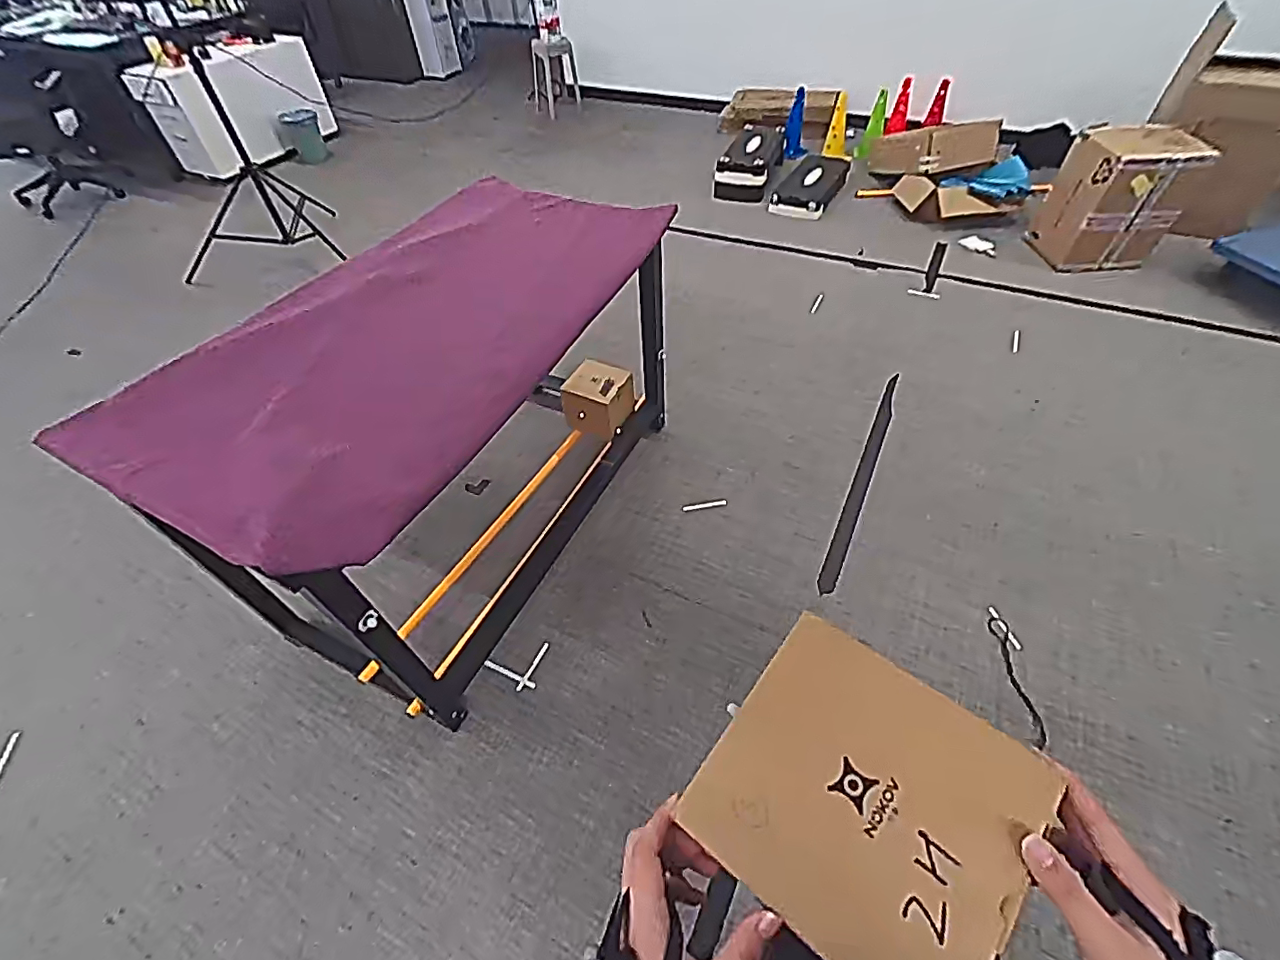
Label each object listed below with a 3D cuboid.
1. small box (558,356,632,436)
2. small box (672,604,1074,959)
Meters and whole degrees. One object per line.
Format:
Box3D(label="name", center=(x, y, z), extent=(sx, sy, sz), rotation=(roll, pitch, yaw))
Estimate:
Box3D(label="small box", center=(-0.137, -0.266, 1.743), extent=(0.179, 0.176, 0.168), rotation=(20, 54, 19))
Box3D(label="small box", center=(0.145, 0.225, 0.386), extent=(0.179, 0.176, 0.168), rotation=(32, 68, 25))
